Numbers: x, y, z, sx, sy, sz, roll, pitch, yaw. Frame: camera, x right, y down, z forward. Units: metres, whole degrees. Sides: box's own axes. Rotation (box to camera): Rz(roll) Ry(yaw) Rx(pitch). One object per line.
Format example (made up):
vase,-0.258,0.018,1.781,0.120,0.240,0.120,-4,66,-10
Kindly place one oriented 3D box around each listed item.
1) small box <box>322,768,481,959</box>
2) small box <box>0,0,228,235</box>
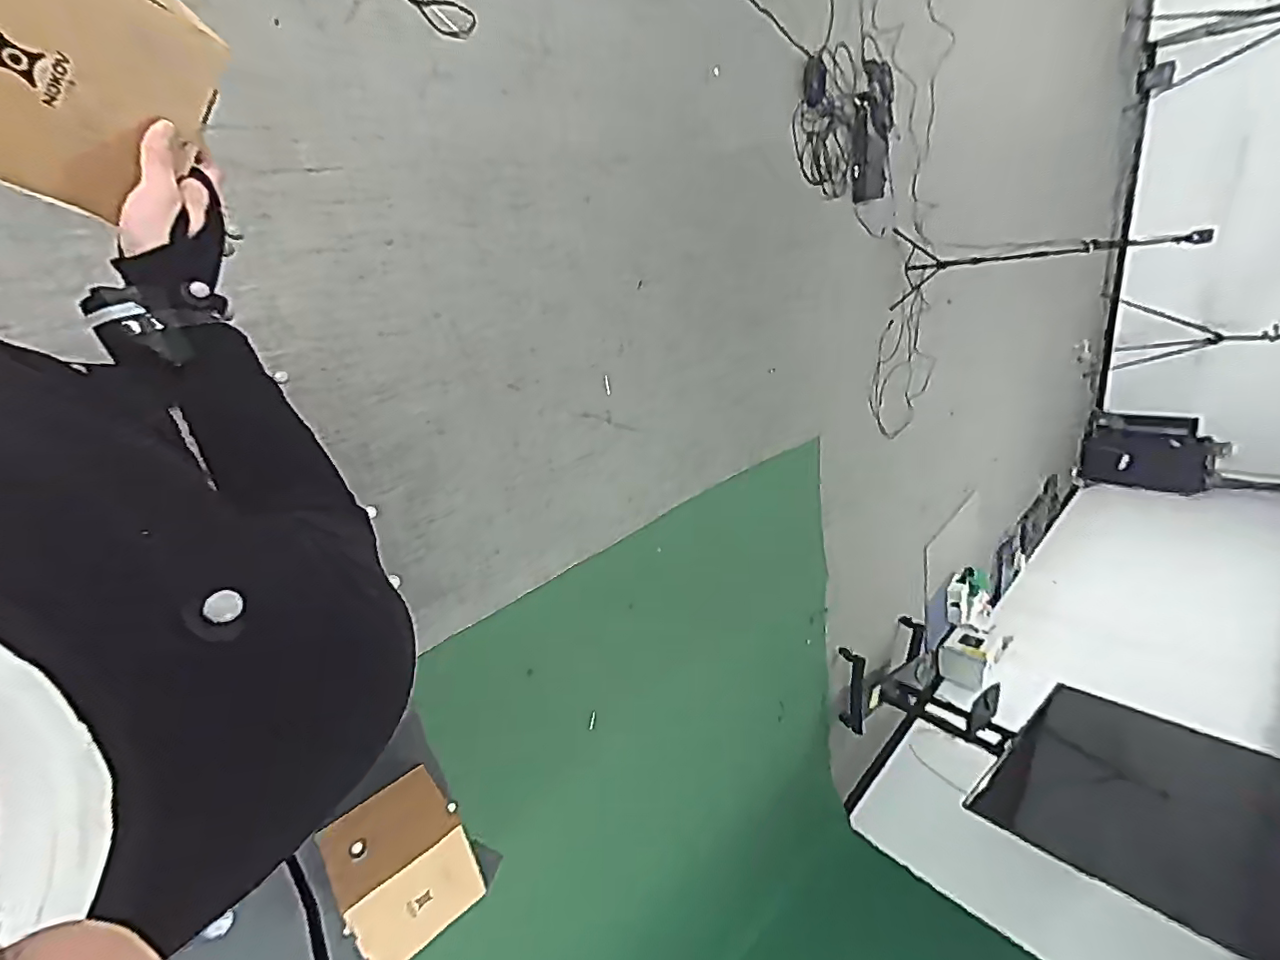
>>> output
small box,-0.382,0.610,0.859,0.179,0.176,0.168,-23,117,-37
small box,-0.454,-0.323,0.392,0.168,0.176,0.179,-54,153,14
